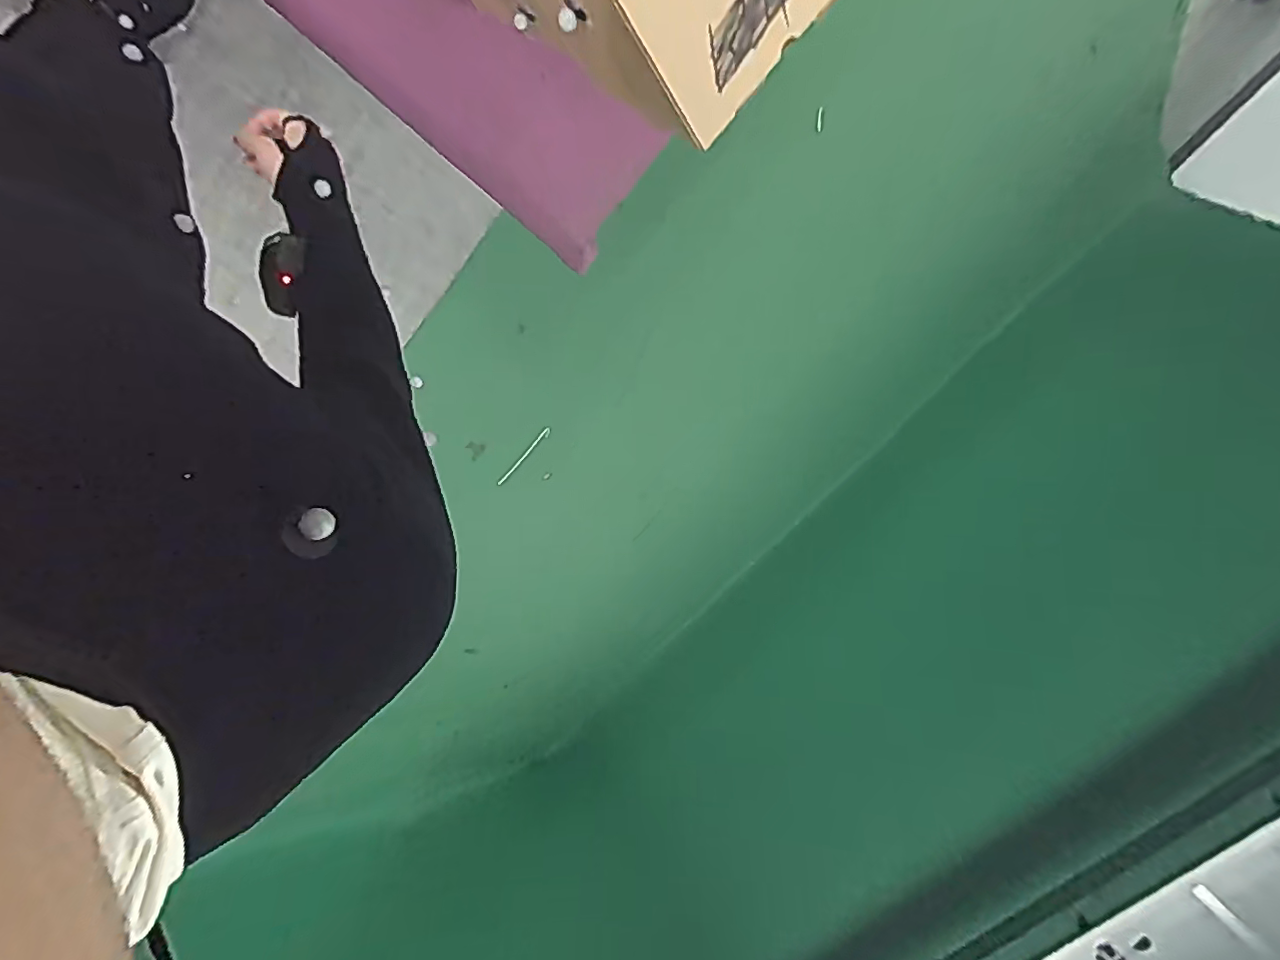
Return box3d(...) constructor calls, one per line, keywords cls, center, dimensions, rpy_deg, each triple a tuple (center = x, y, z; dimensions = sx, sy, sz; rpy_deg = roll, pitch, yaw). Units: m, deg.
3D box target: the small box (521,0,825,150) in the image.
box3d(cls="small box", center=(0.007, -0.361, 0.338), dimensions=(0.168, 0.176, 0.179), rpy_deg=(-46, 143, 12))
